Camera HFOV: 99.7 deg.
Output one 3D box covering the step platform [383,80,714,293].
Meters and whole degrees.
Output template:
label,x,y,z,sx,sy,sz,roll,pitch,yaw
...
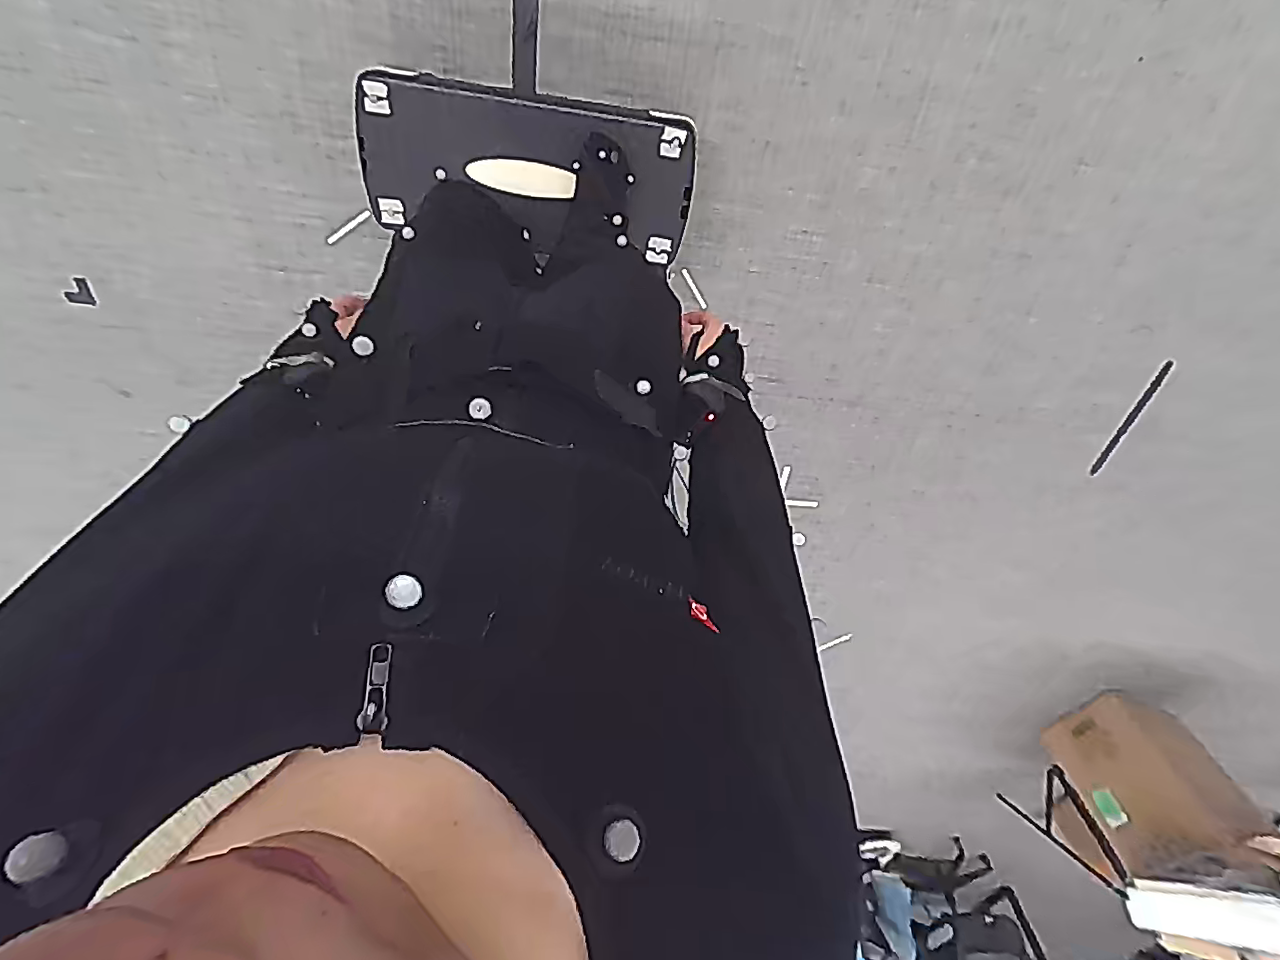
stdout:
label,x,y,z,sx,sy,sz,roll,pitch,yaw
step platform,-0.187,-0.628,1.184,0.684,0.204,0.286,9,124,-8
